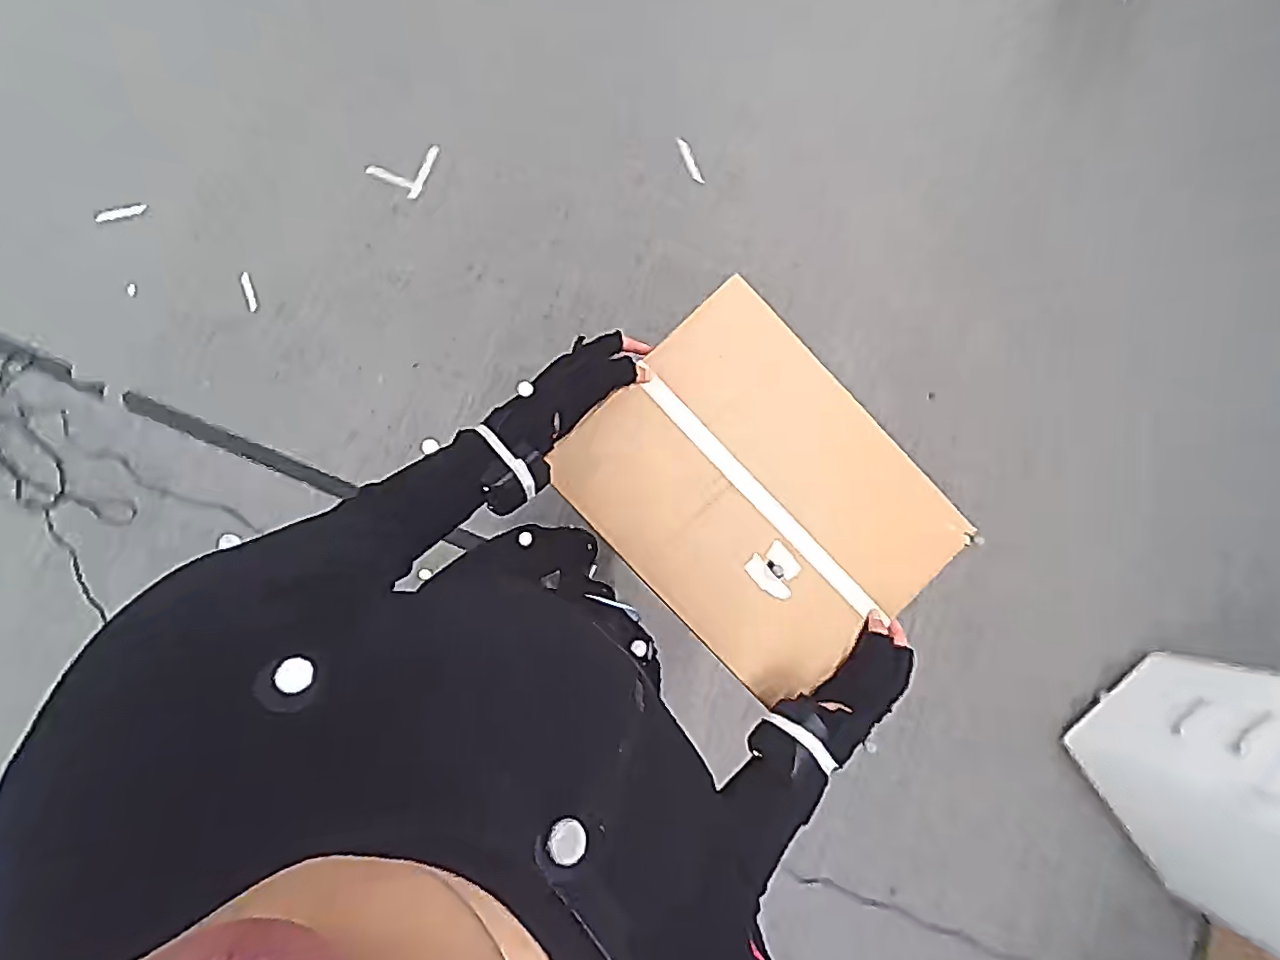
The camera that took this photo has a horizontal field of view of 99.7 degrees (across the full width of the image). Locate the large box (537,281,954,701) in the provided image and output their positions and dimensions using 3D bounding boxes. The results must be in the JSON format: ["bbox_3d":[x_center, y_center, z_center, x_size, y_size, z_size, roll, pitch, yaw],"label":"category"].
[{"bbox_3d":[0.114,0.012,0.767,0.320,0.320,0.408,-45,93,-3],"label":"large box"}]
